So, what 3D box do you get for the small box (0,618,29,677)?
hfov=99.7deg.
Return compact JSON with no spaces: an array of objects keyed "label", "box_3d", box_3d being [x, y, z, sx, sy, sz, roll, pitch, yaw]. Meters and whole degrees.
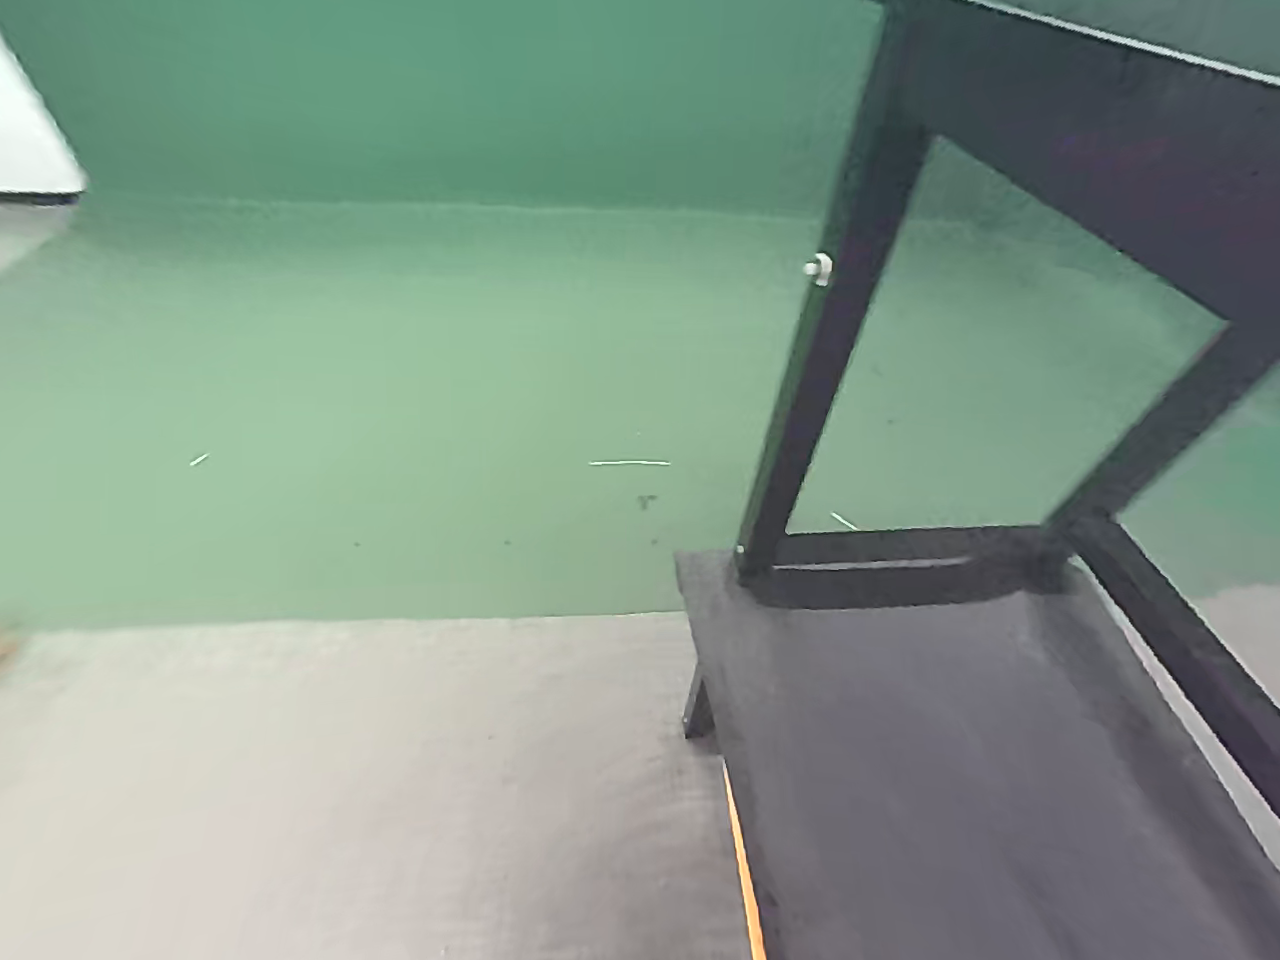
[{"label":"small box","box_3d":[-1.798,0.450,1.409,0.179,0.176,0.168,0,47,-4]}]
